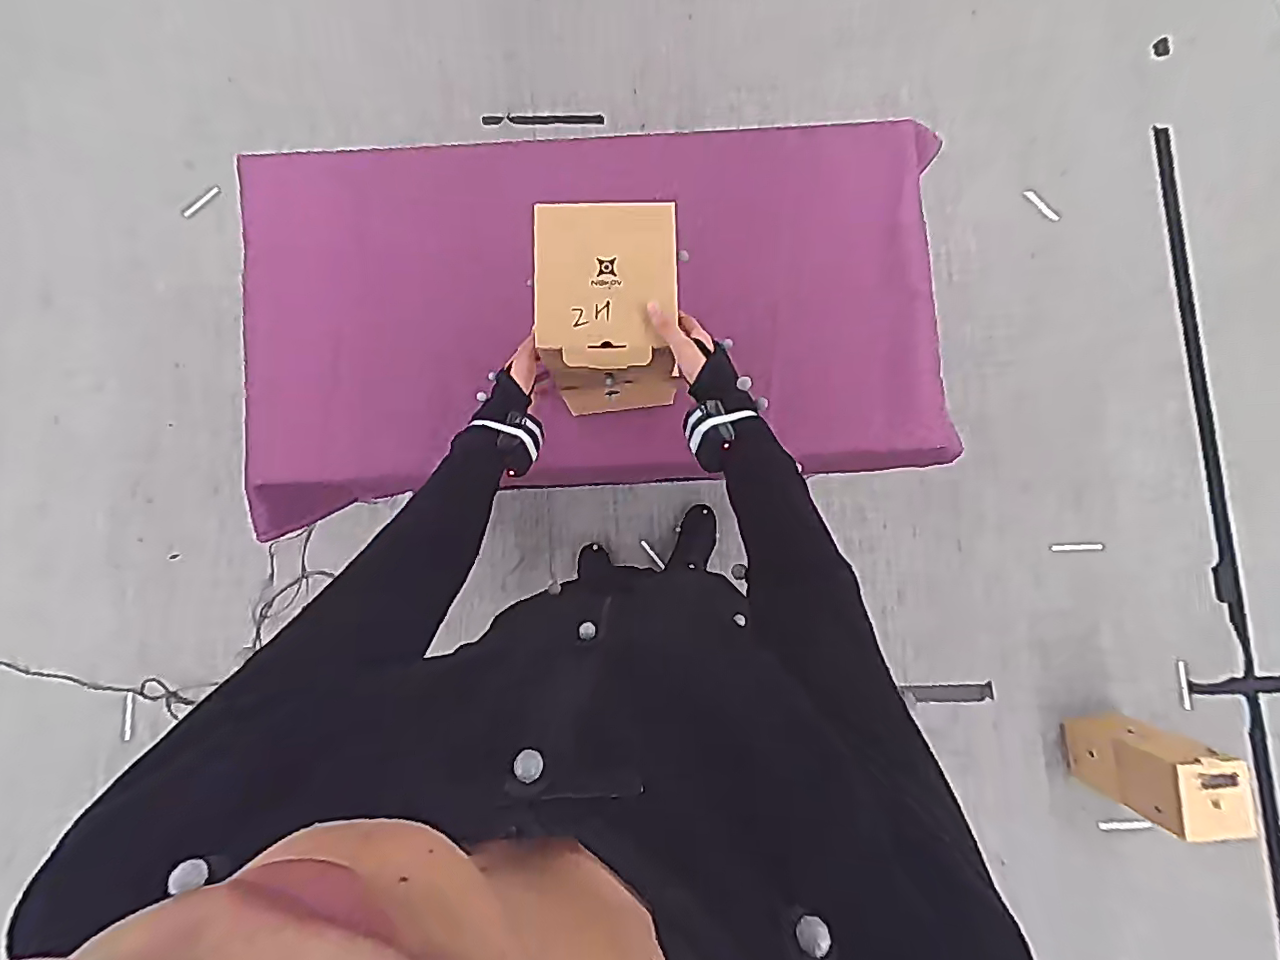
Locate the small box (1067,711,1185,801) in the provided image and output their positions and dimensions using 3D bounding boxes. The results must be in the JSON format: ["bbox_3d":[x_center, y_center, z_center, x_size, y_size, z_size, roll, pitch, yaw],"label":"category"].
[{"bbox_3d":[1.330,0.757,1.498,0.179,0.176,0.168,-7,85,-1],"label":"small box"}]

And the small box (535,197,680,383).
[{"bbox_3d":[-0.038,-0.232,0.693,0.168,0.176,0.179,-1,86,0],"label":"small box"}]

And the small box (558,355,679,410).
[{"bbox_3d":[-0.037,-0.214,0.858,0.179,0.176,0.168,-7,85,-1],"label":"small box"}]
